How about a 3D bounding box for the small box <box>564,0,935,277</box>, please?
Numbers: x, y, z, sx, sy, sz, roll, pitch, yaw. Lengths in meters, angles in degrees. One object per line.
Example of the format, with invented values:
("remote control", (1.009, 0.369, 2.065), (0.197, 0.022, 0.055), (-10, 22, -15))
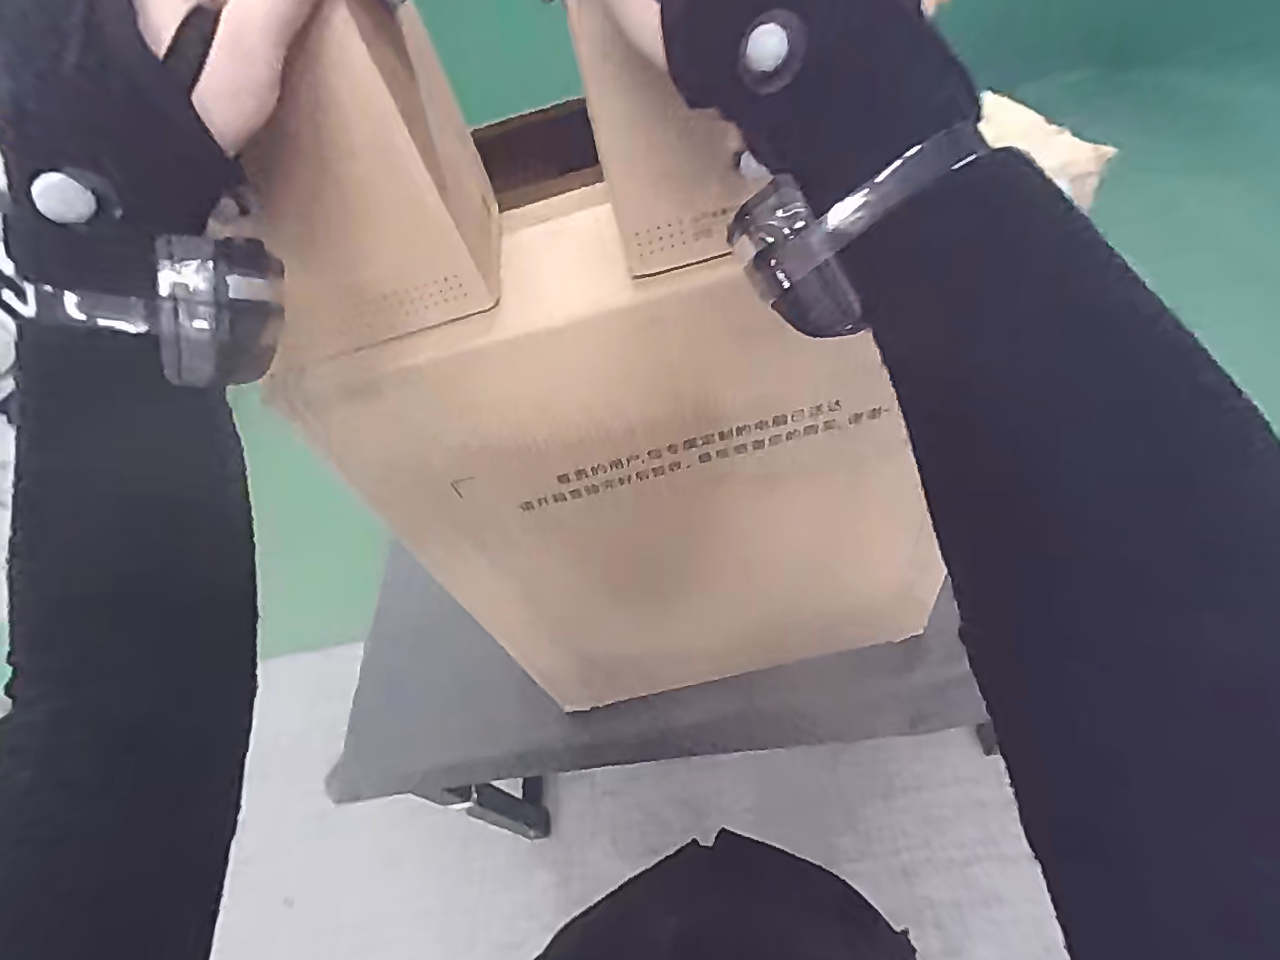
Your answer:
("small box", (0.047, -0.250, 0.314), (0.168, 0.176, 0.179), (-14, 52, 4))
